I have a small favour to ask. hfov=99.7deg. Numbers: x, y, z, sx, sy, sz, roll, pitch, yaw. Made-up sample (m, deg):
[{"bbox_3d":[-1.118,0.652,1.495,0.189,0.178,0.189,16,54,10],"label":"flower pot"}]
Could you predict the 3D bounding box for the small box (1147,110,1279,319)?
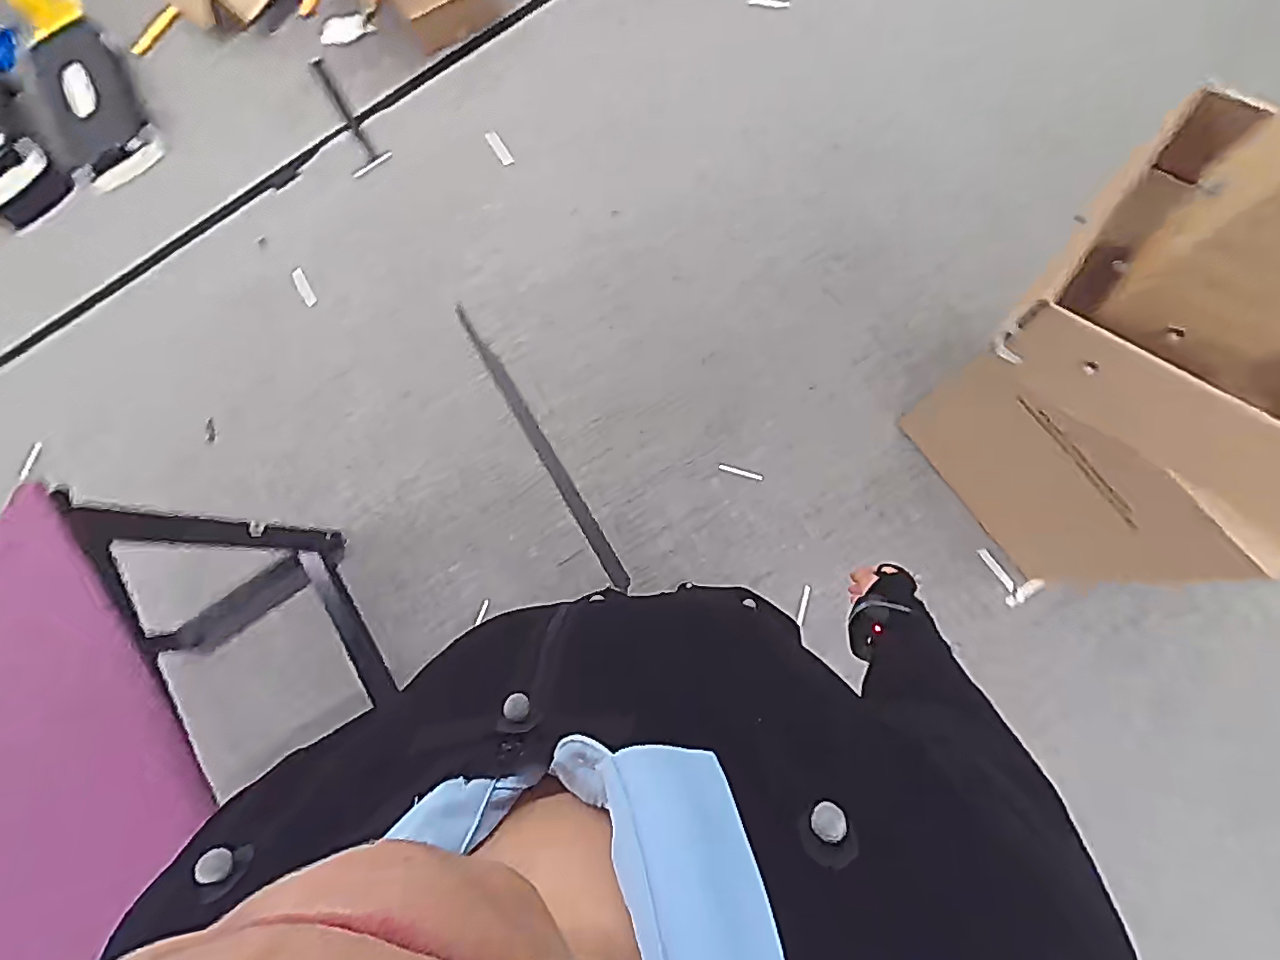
[{"bbox_3d":[0.742,-0.305,0.596,0.179,0.176,0.168,31,85,11],"label":"small box"}]
